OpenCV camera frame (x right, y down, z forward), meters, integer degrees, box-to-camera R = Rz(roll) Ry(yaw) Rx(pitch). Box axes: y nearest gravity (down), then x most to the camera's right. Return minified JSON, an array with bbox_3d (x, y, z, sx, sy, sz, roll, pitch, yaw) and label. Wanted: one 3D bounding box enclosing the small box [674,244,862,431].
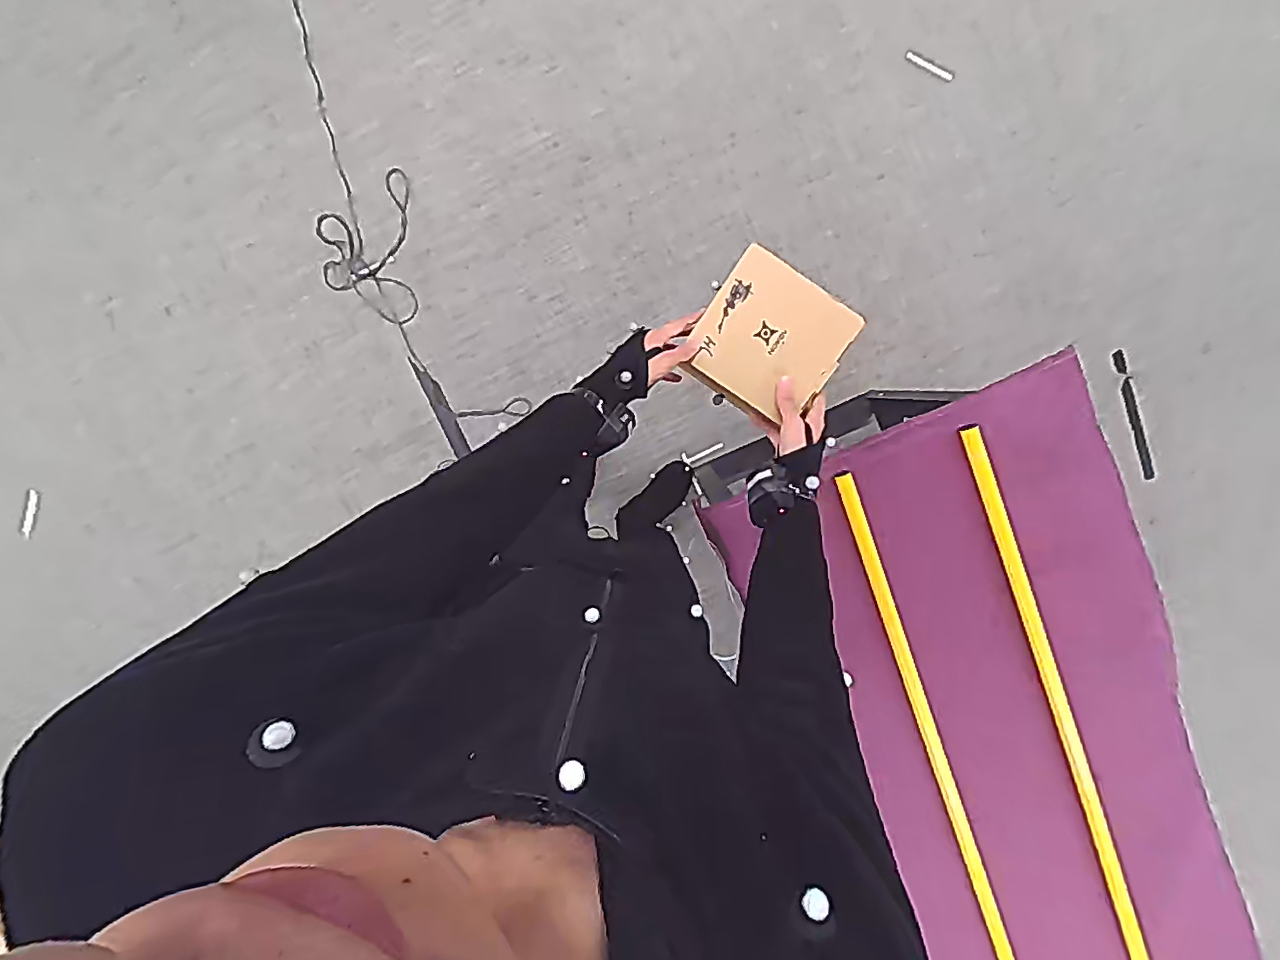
[{"bbox_3d":[0.163,-0.189,0.750,0.179,0.176,0.168,34,99,-4],"label":"small box"}]
